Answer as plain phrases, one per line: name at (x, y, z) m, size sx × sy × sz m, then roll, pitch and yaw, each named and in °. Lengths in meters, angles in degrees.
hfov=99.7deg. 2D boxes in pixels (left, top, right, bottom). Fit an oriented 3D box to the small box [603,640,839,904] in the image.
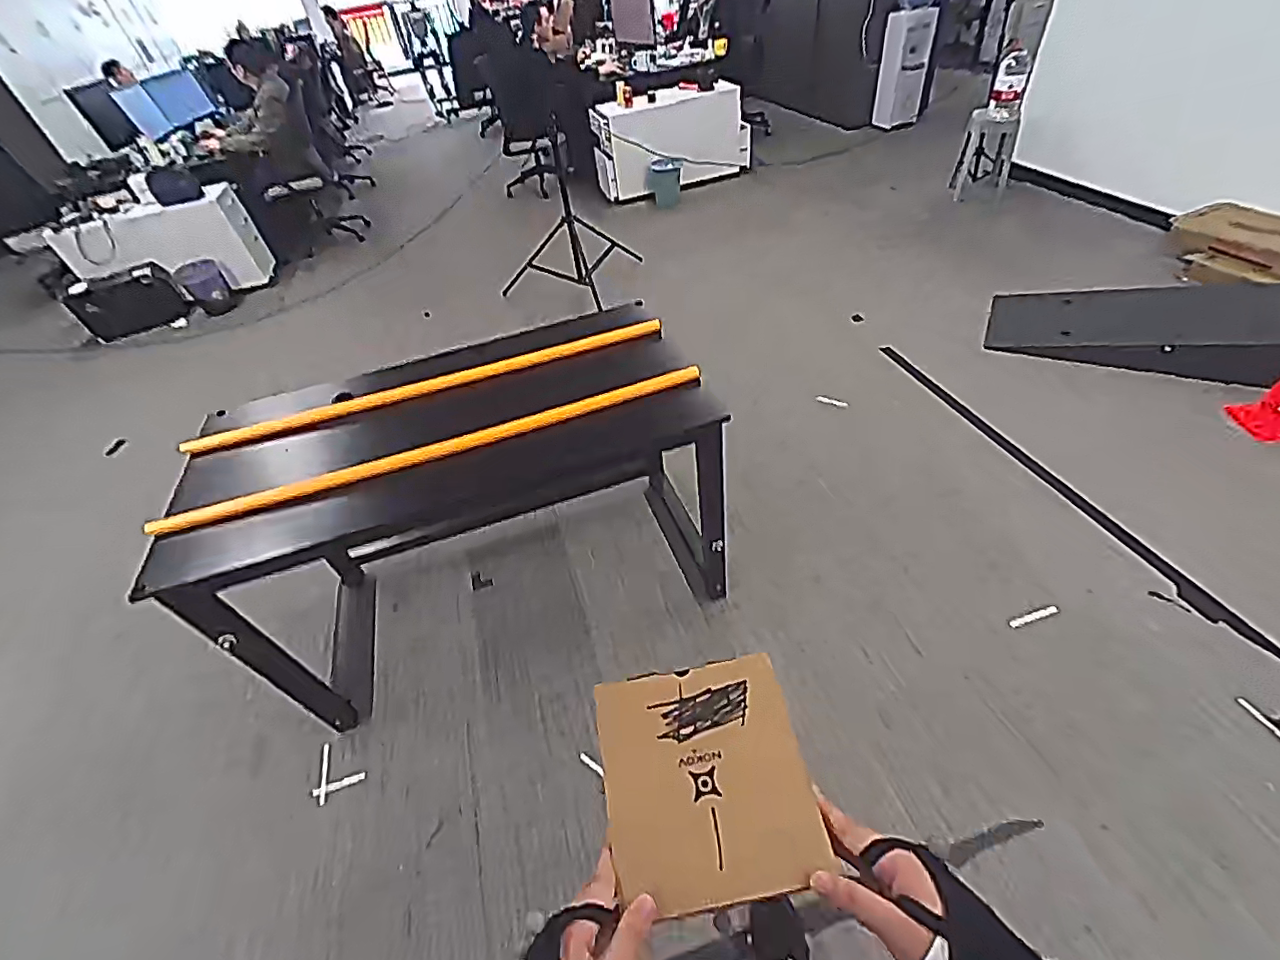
small box at (0.063, 0.280, 0.517) m, size 0.168 × 0.176 × 0.179 m, roll -11°, pitch 51°, yaw -3°
